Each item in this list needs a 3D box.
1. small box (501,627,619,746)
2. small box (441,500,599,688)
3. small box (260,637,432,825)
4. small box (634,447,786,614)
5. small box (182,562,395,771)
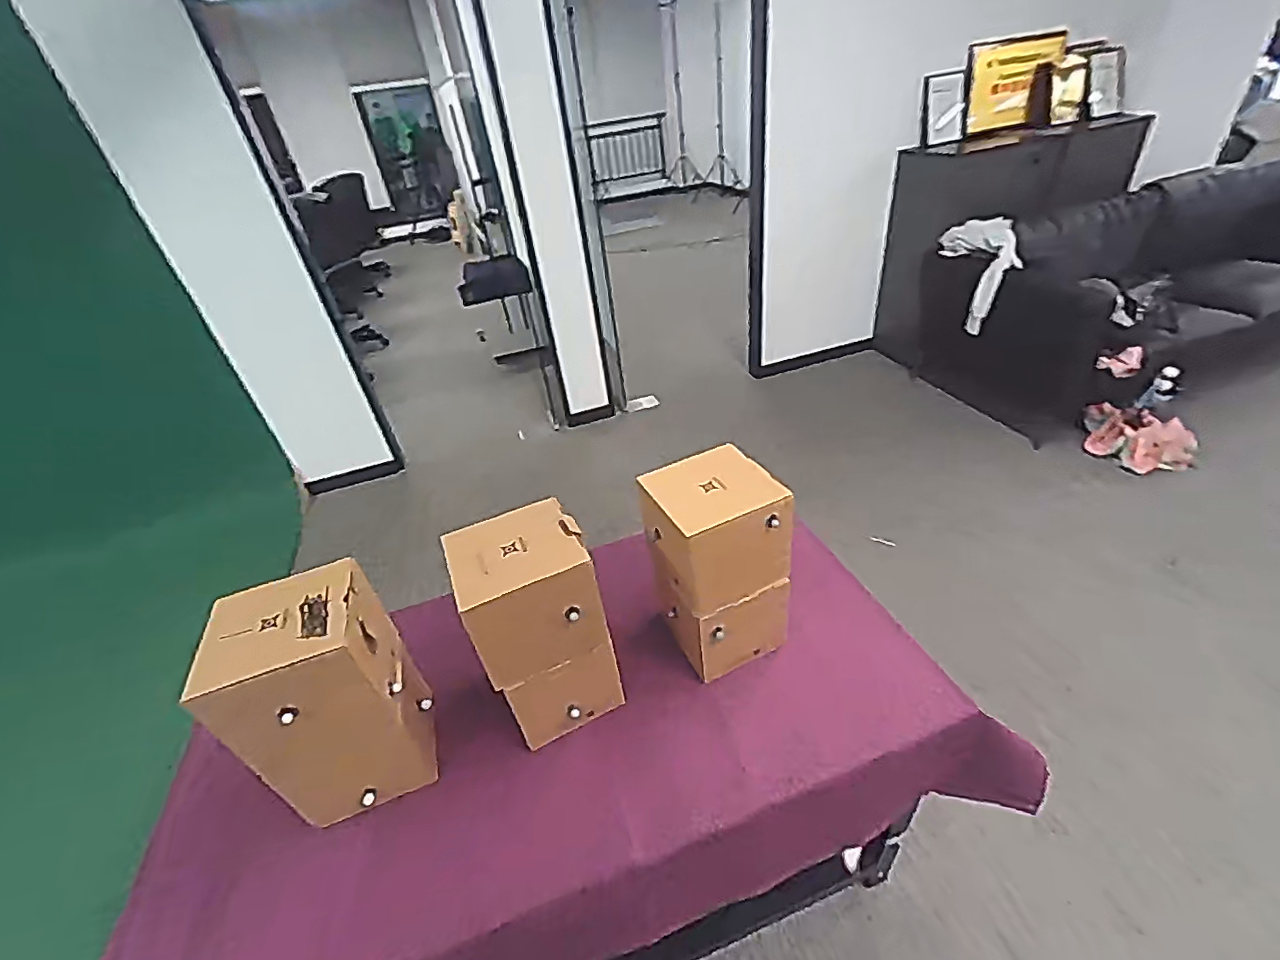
[{"bbox_3d":[-0.147,0.291,0.885,0.168,0.176,0.179,-21,39,-17],"label":"small box"},{"bbox_3d":[-0.168,0.163,0.786,0.179,0.176,0.168,-20,37,-15],"label":"small box"},{"bbox_3d":[-0.426,0.378,0.820,0.179,0.176,0.168,-17,37,-13],"label":"small box"},{"bbox_3d":[0.110,0.078,0.846,0.179,0.176,0.168,-20,38,-17],"label":"small box"},{"bbox_3d":[-0.443,0.246,0.723,0.179,0.176,0.168,-18,38,-12],"label":"small box"}]
